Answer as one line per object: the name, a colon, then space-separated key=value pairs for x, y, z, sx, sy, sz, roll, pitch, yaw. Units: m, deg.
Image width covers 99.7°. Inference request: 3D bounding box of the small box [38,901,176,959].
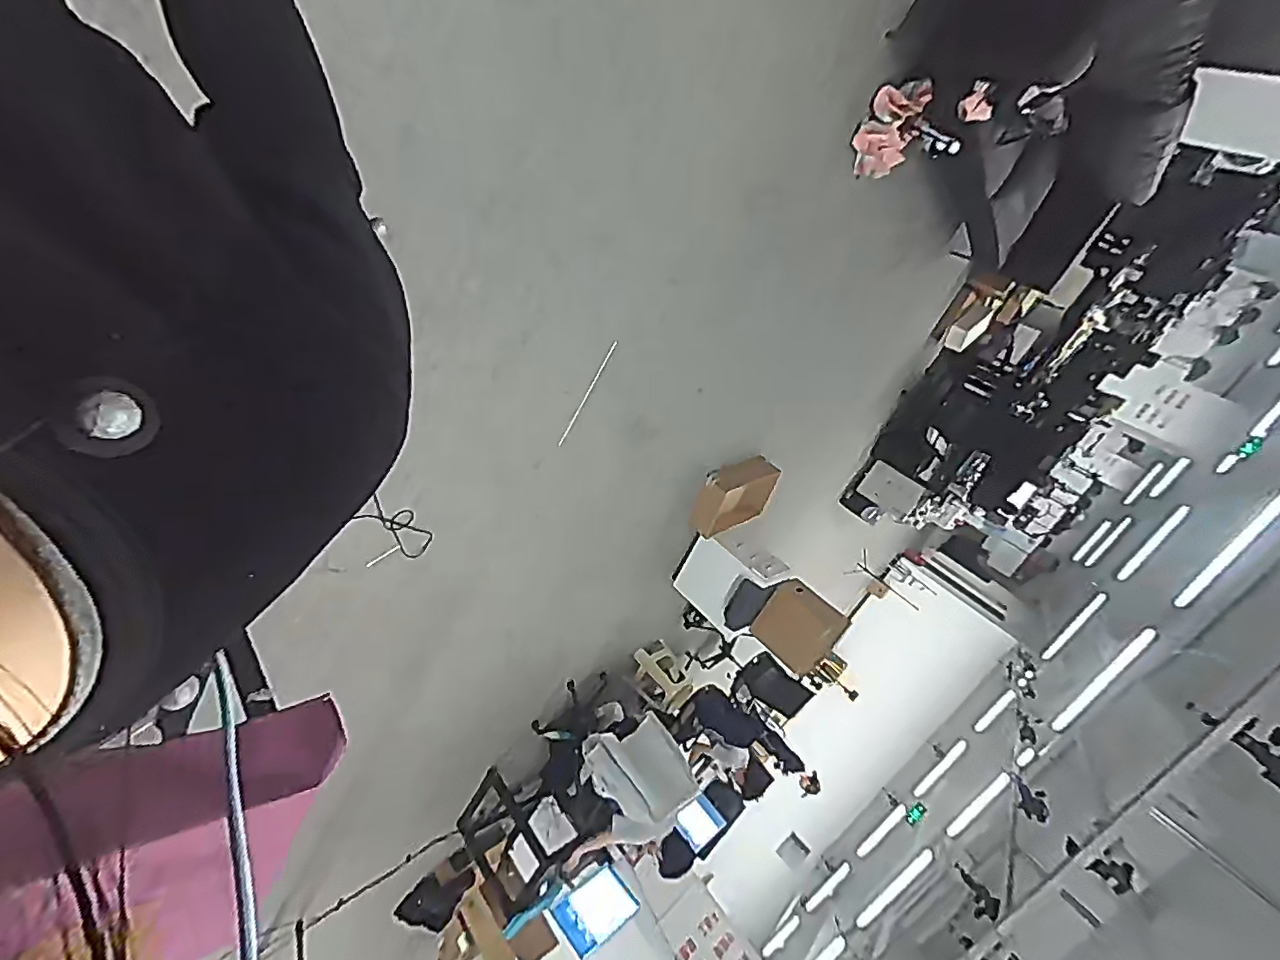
small box: x=-1.026 y=0.961 z=1.030 sx=0.168 sy=0.176 sz=0.179 roll=-53 pitch=148 yaw=5
